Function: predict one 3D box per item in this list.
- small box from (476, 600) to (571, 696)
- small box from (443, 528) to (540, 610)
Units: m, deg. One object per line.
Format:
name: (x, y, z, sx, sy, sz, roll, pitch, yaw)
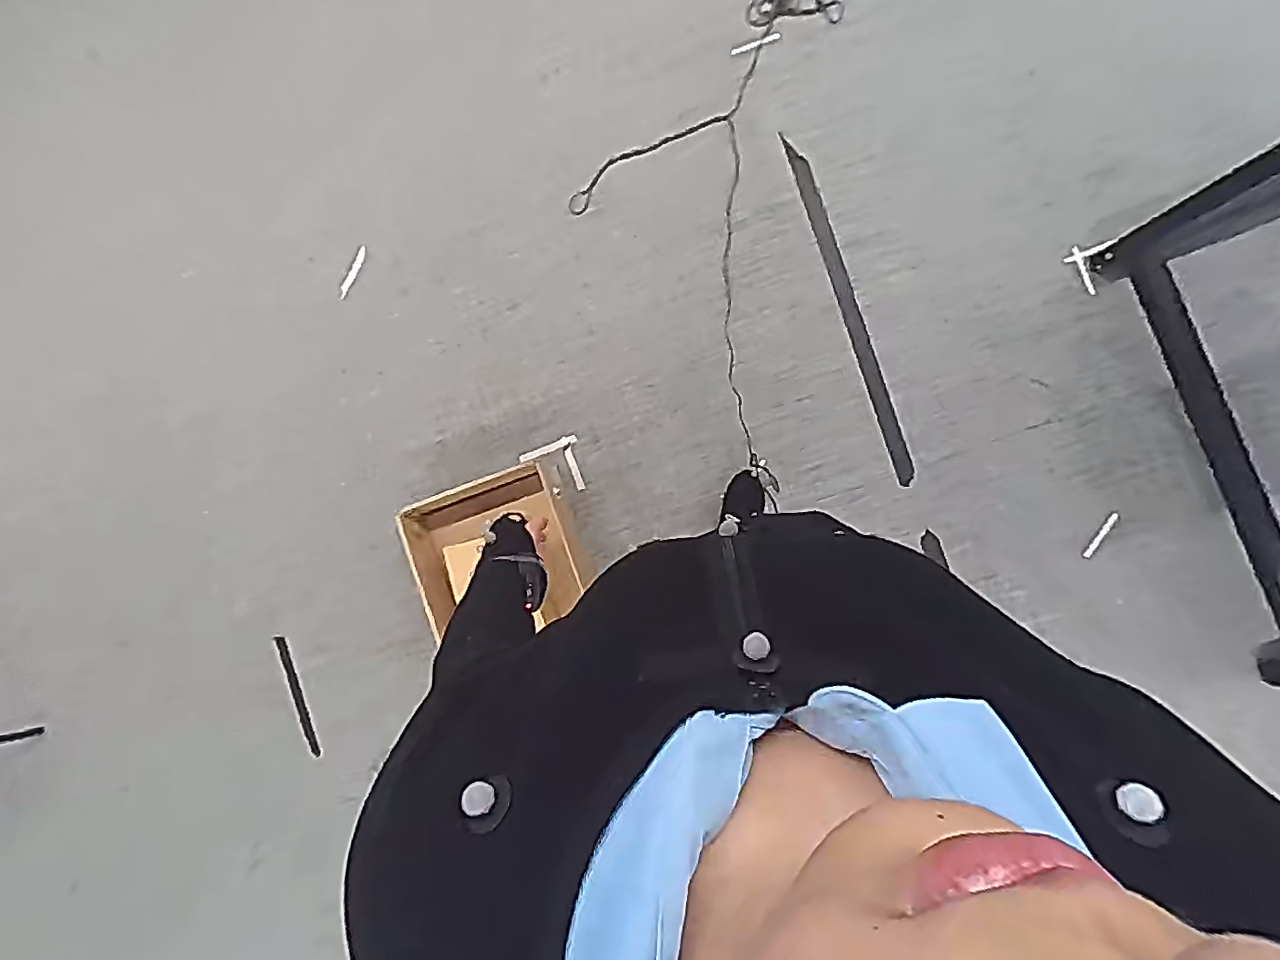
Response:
small box: (-0.288, 0.423, 1.392, 0.179, 0.176, 0.168, -22, 85, 3)
small box: (-0.380, 0.225, 1.408, 0.179, 0.176, 0.168, -15, 88, 3)
